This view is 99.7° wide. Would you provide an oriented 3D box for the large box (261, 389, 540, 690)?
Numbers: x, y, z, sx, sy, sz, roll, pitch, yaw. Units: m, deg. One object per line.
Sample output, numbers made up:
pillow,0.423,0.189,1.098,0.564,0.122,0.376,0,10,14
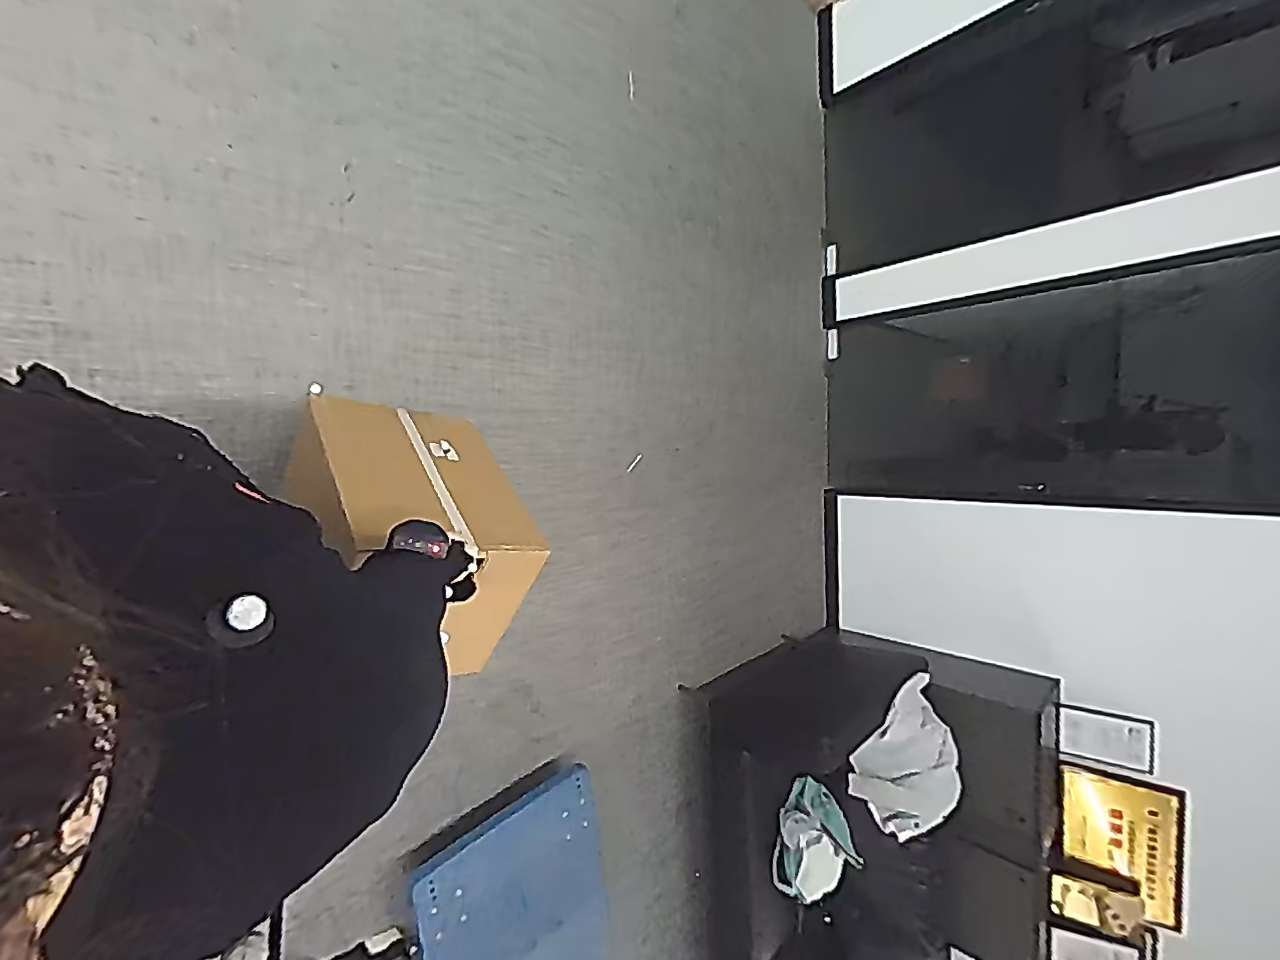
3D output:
large box,-0.449,0.094,0.972,0.320,0.408,0.320,8,121,-46
